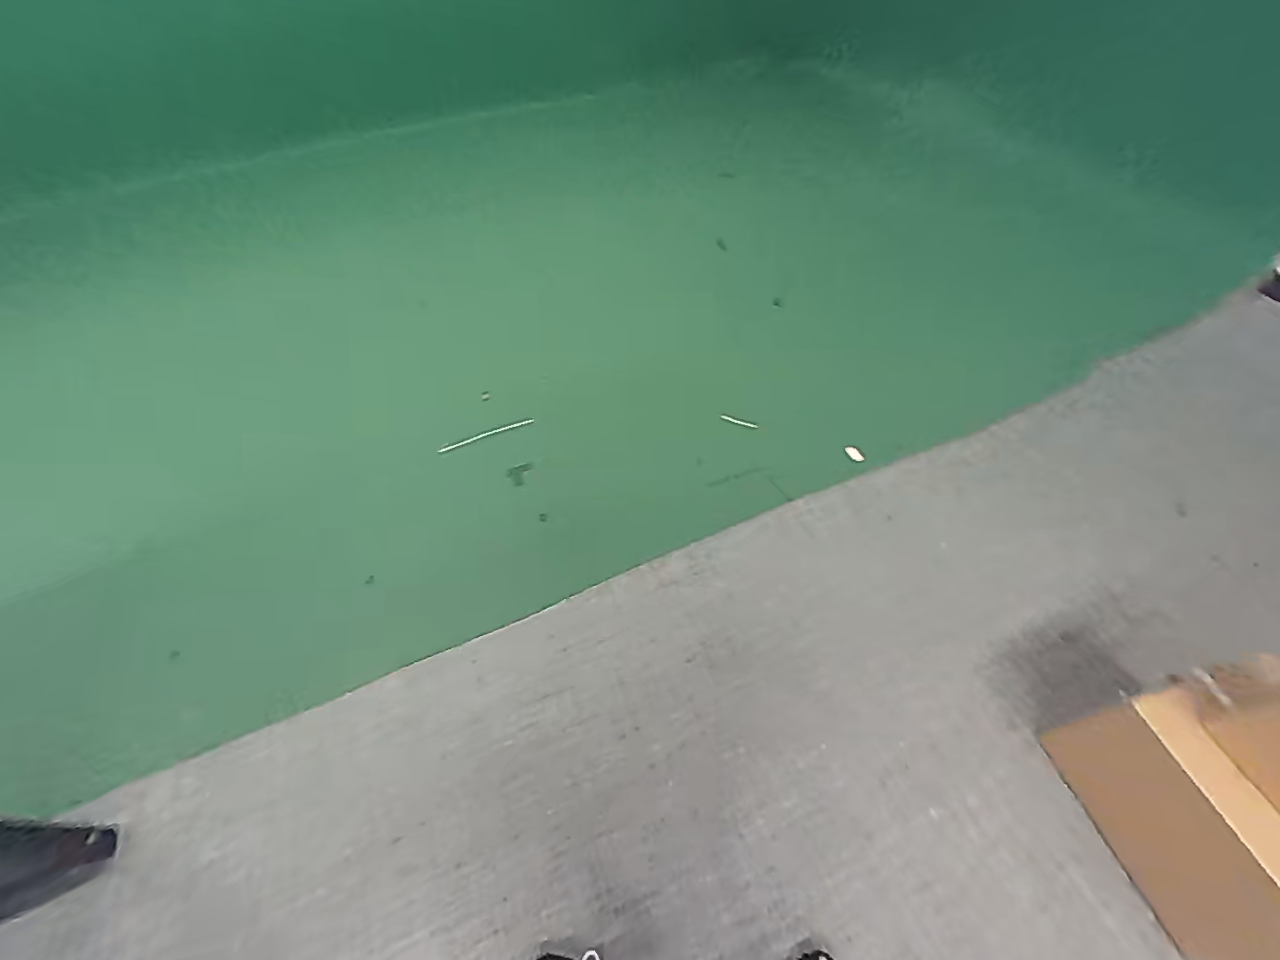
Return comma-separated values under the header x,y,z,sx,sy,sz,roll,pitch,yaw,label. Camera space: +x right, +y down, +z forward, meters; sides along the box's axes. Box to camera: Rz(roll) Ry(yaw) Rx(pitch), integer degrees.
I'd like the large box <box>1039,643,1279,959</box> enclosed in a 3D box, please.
x,y,z,sx,sy,sz,roll,pitch,yaw,label
1.072,0.577,0.987,0.320,0.320,0.408,-17,56,-8,large box
